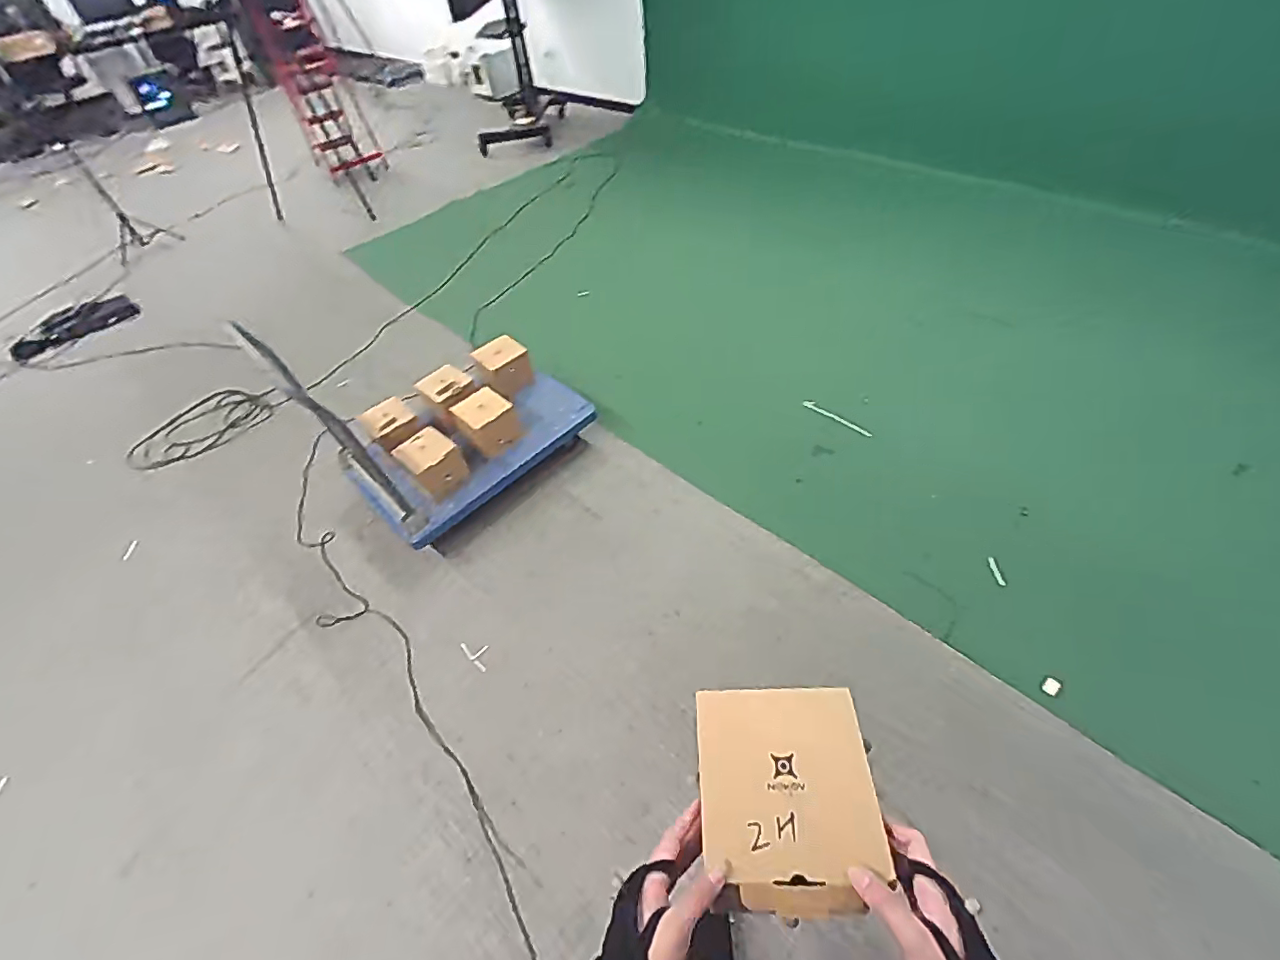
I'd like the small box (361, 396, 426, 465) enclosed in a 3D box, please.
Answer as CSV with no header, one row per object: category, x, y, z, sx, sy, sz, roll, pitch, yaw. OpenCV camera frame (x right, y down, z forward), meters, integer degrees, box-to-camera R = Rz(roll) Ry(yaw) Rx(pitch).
small box,-0.915,-0.179,2.053,0.168,0.176,0.179,-38,55,-23

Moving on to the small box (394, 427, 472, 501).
small box,-0.728,-0.051,1.921,0.179,0.176,0.168,33,60,29

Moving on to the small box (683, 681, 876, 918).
small box,0.142,0.339,0.580,0.168,0.176,0.179,-1,46,12

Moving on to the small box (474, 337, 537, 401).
small box,-0.554,-0.459,2.249,0.179,0.176,0.168,-38,57,-22
